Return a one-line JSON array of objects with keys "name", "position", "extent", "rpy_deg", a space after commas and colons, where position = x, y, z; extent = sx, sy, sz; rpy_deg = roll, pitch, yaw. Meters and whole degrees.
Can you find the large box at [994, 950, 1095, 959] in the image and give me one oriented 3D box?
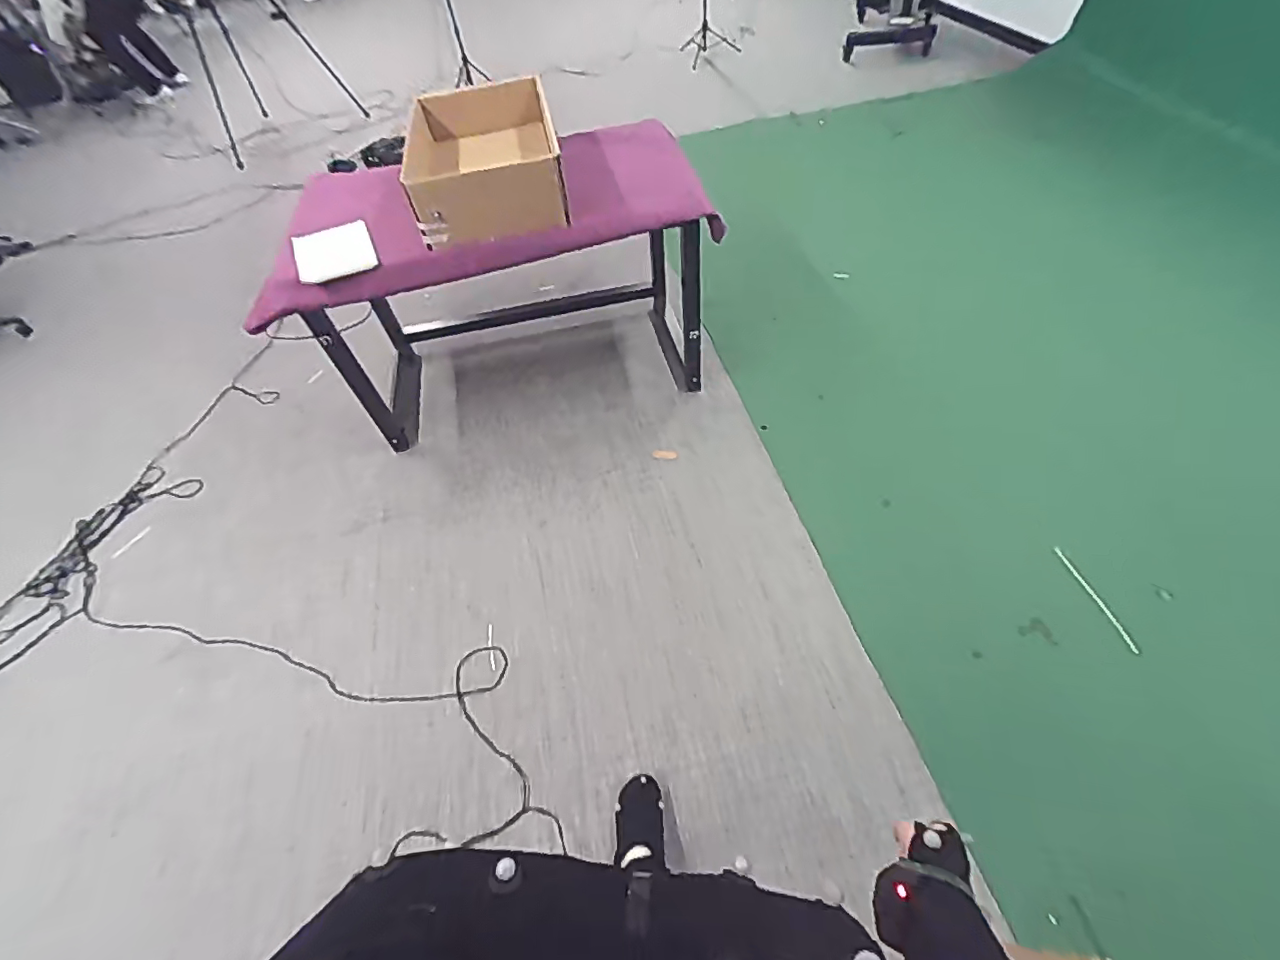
[{"name": "large box", "position": [0.618, 1.022, 0.828], "extent": [0.408, 0.320, 0.320], "rpy_deg": [-24, 55, -13]}]
